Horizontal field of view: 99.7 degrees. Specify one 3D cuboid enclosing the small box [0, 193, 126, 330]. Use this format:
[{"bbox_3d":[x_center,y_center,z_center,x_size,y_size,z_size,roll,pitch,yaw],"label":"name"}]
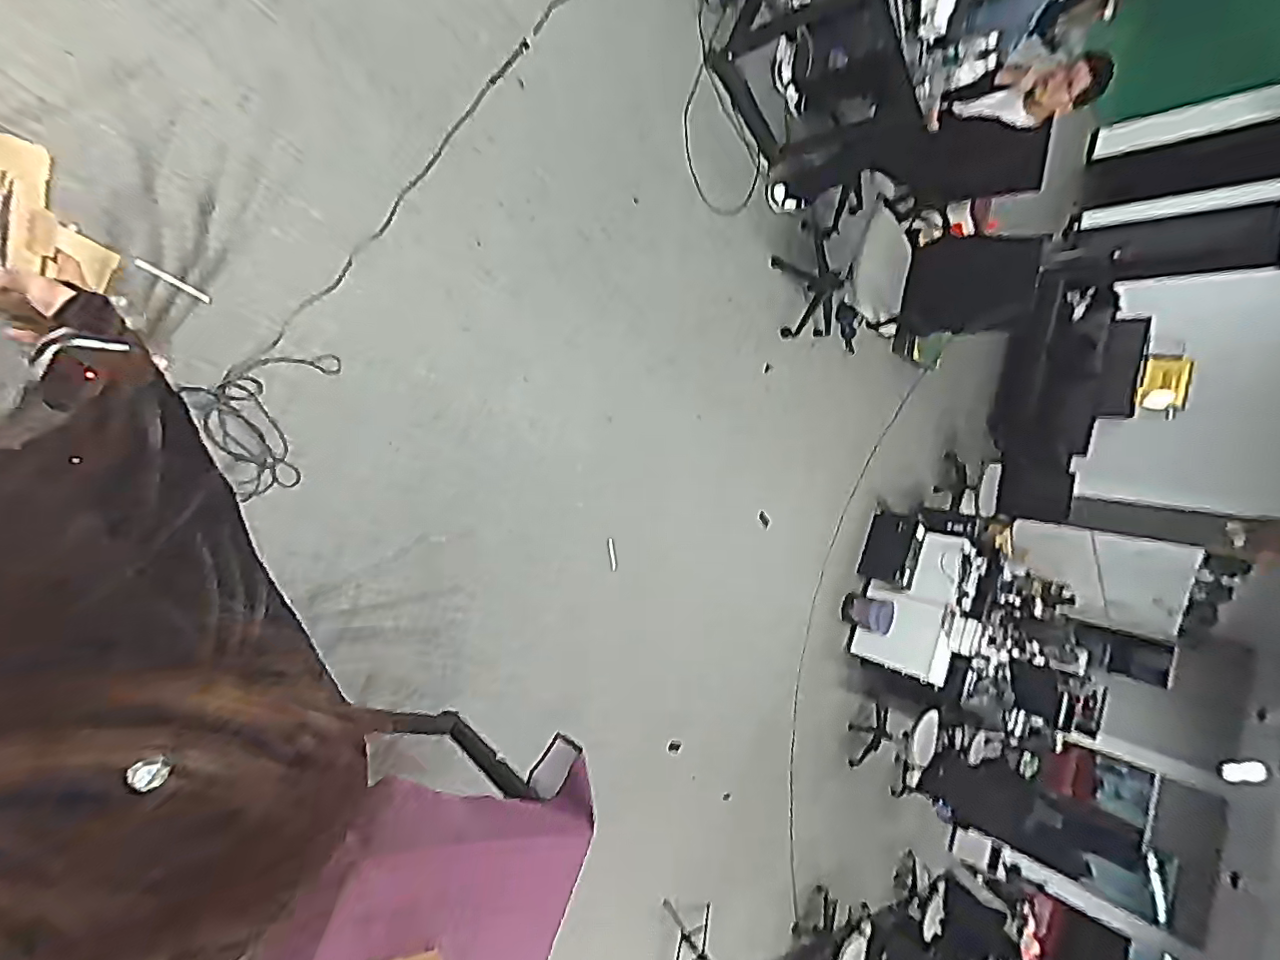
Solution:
[{"bbox_3d":[-1.132,-0.400,1.031,0.179,0.176,0.168,31,77,-43],"label":"small box"}]
